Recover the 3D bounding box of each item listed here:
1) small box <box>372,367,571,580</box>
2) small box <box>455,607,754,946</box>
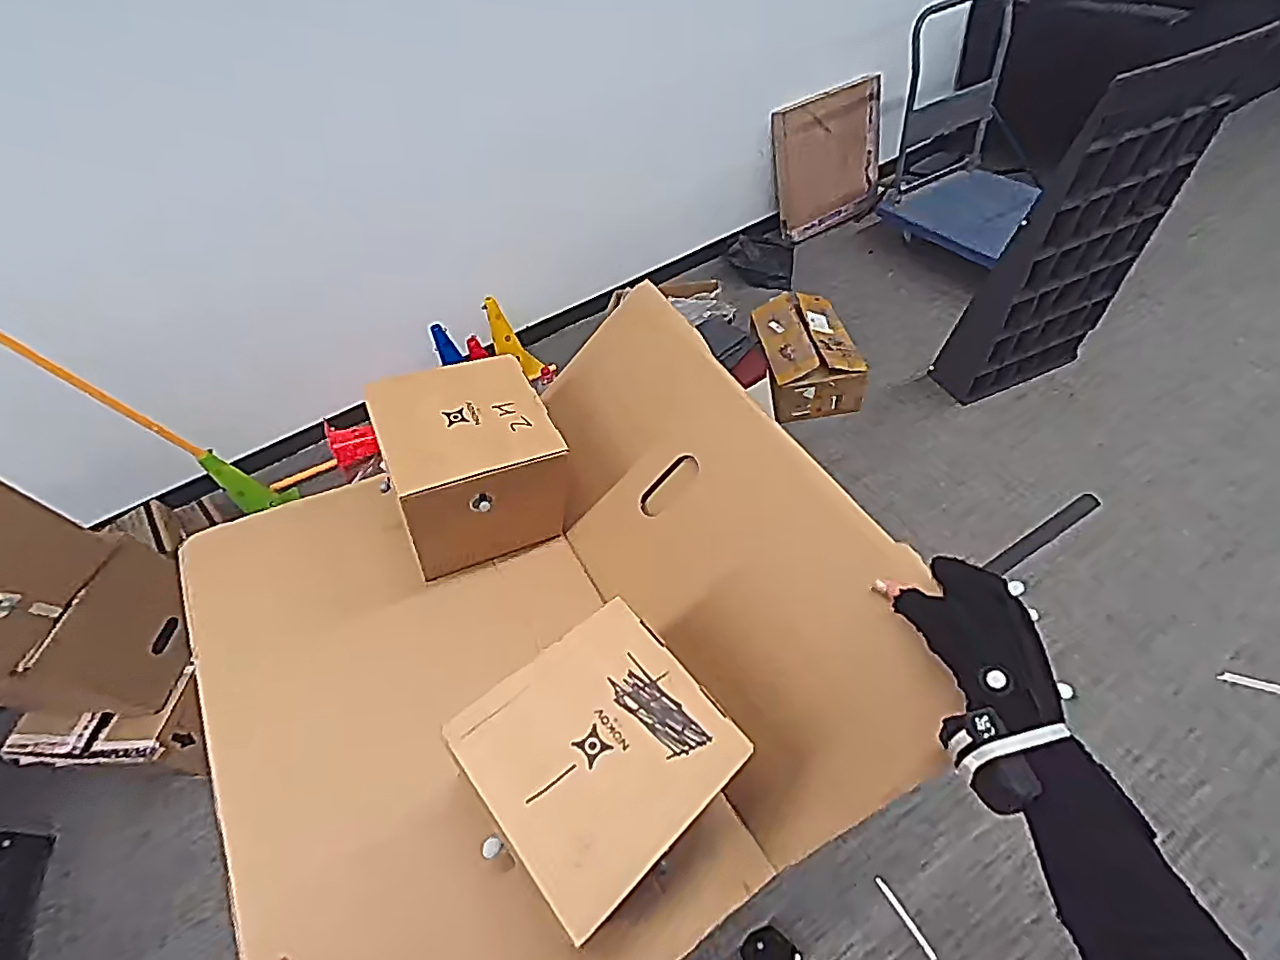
[{"bbox_3d":[-0.196,-0.005,0.648,0.179,0.176,0.168,-17,58,-24],"label":"small box"},{"bbox_3d":[-0.037,0.251,0.474,0.179,0.176,0.168,-32,64,-30],"label":"small box"}]
